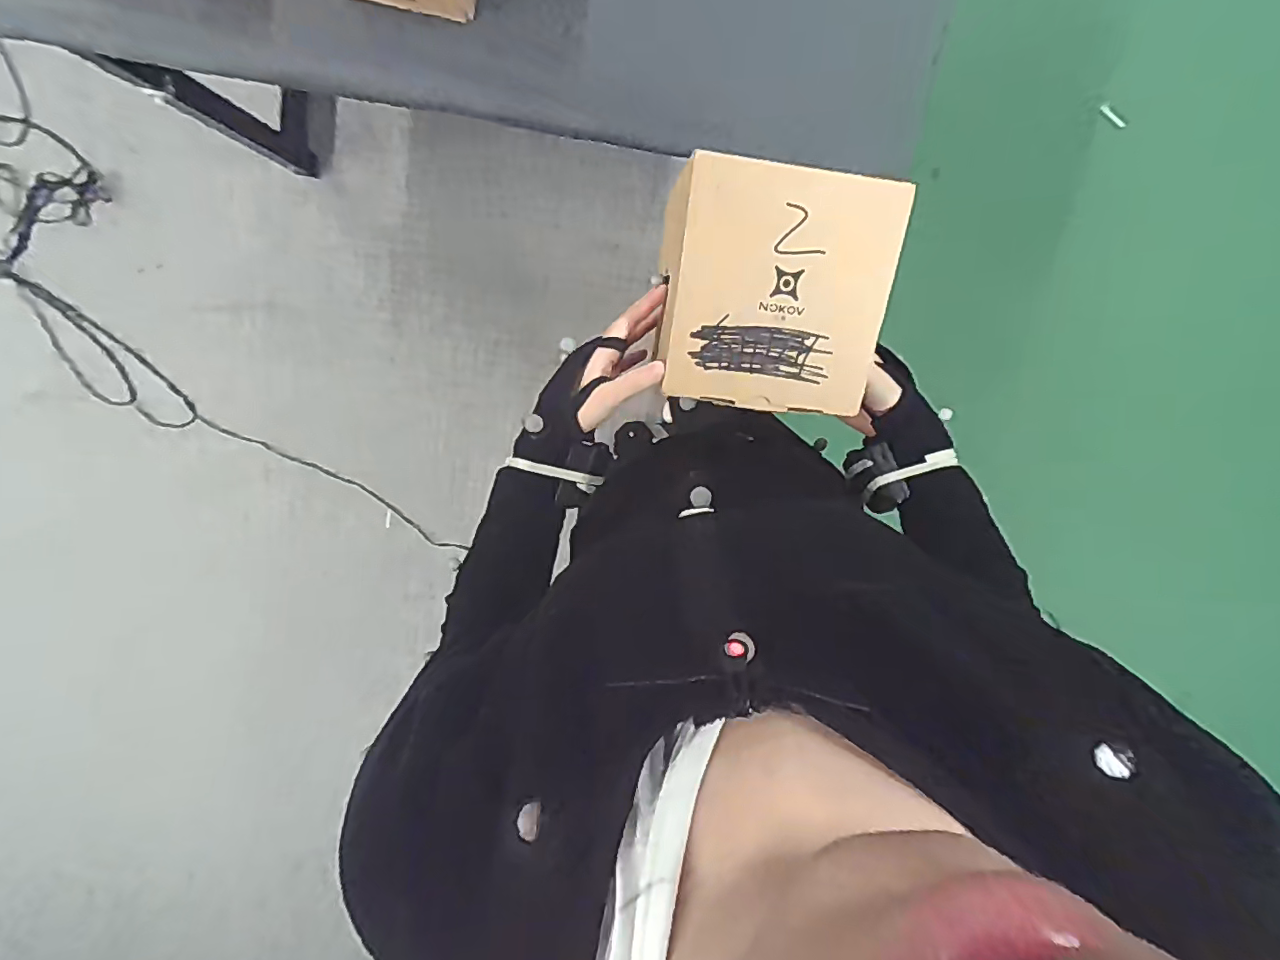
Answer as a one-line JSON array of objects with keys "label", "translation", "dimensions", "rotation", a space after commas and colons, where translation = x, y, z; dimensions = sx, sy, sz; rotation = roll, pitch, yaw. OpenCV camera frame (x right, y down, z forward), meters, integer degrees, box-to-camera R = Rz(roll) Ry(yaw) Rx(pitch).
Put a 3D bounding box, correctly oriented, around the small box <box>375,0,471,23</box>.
[{"label": "small box", "translation": [-0.255, -0.607, 0.523], "dimensions": [0.168, 0.176, 0.179], "rotation": [11, 102, -5]}]
